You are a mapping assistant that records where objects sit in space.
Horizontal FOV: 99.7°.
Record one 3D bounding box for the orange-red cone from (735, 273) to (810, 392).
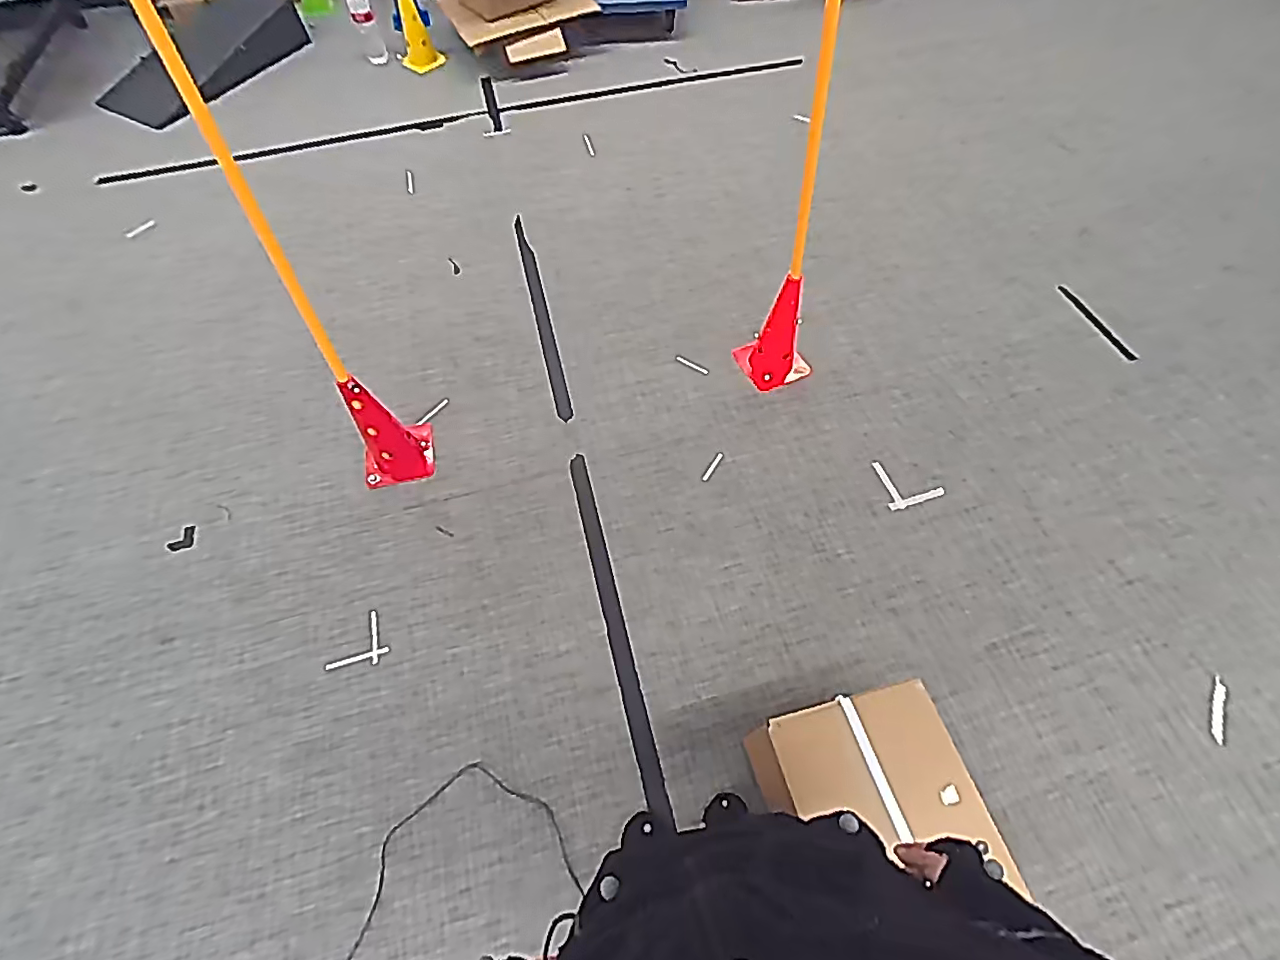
[{"bbox_3d":[0.434,-0.468,1.628,0.199,0.360,0.198,-21,63,-12],"label":"orange-red cone"}]
